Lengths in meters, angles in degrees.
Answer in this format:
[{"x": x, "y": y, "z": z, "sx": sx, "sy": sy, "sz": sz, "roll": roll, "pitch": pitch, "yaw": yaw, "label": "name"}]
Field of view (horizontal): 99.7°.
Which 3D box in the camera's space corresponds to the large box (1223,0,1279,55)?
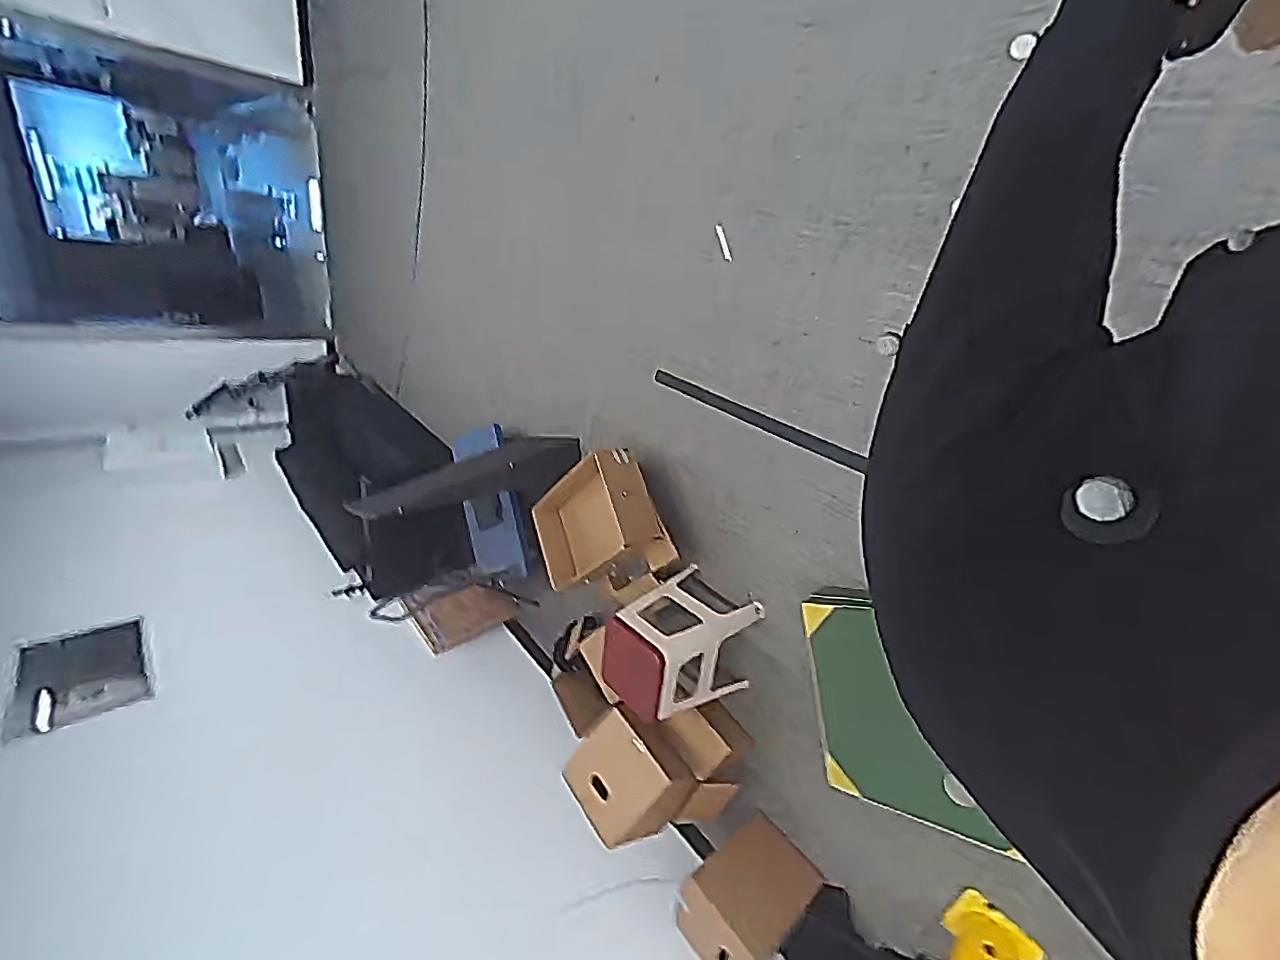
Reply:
[{"x": 0.617, "y": -0.471, "z": 0.261, "sx": 0.408, "sy": 0.320, "sz": 0.320, "roll": 21, "pitch": 124, "yaw": 43, "label": "large box"}]
